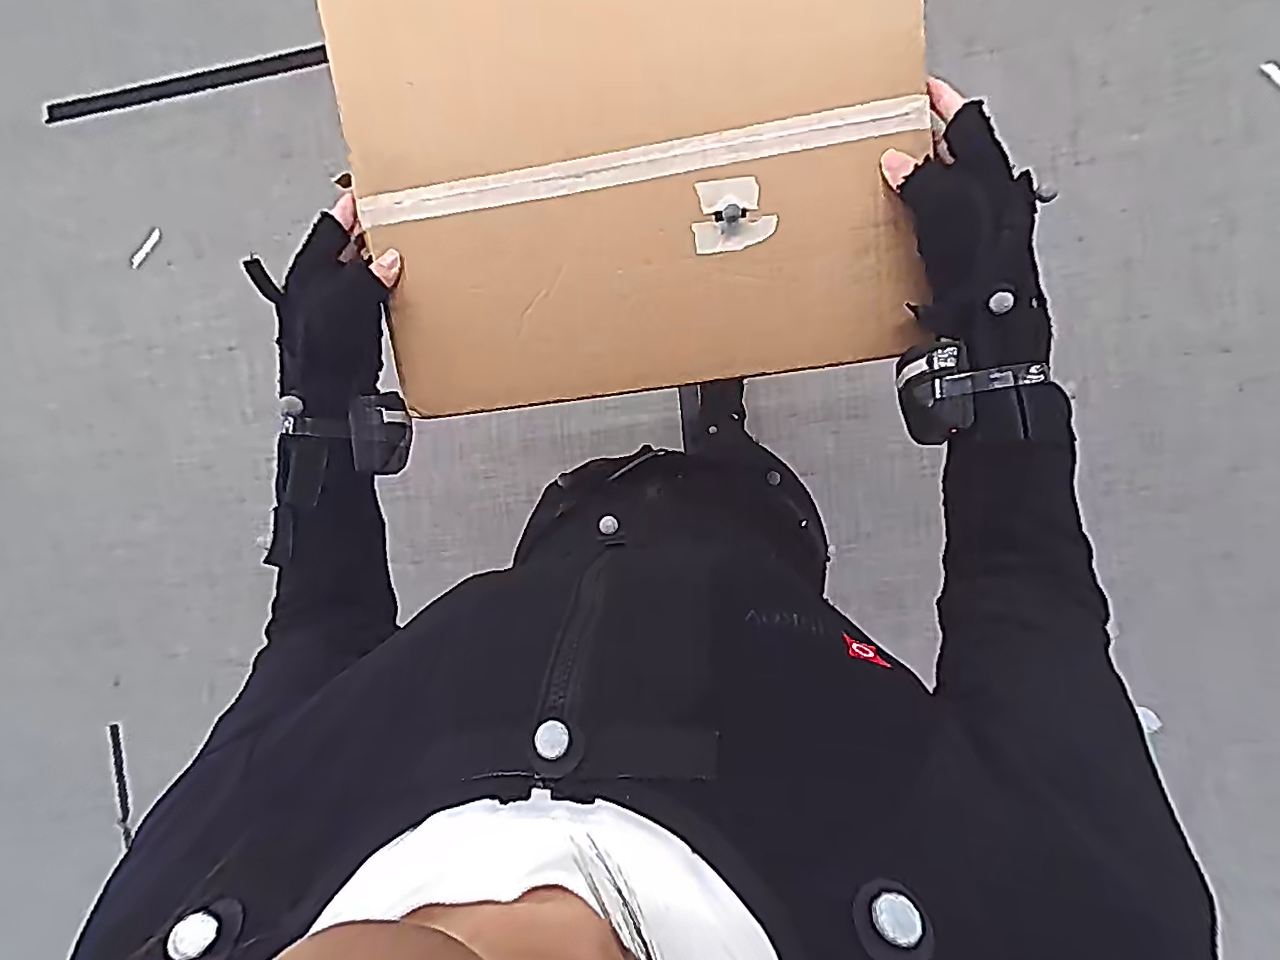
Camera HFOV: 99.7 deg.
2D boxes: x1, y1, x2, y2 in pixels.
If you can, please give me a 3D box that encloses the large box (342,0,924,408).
[{"bbox_3d":[0.007,-0.262,0.545,0.408,0.320,0.320,-7,102,6],"label":"large box"}]
